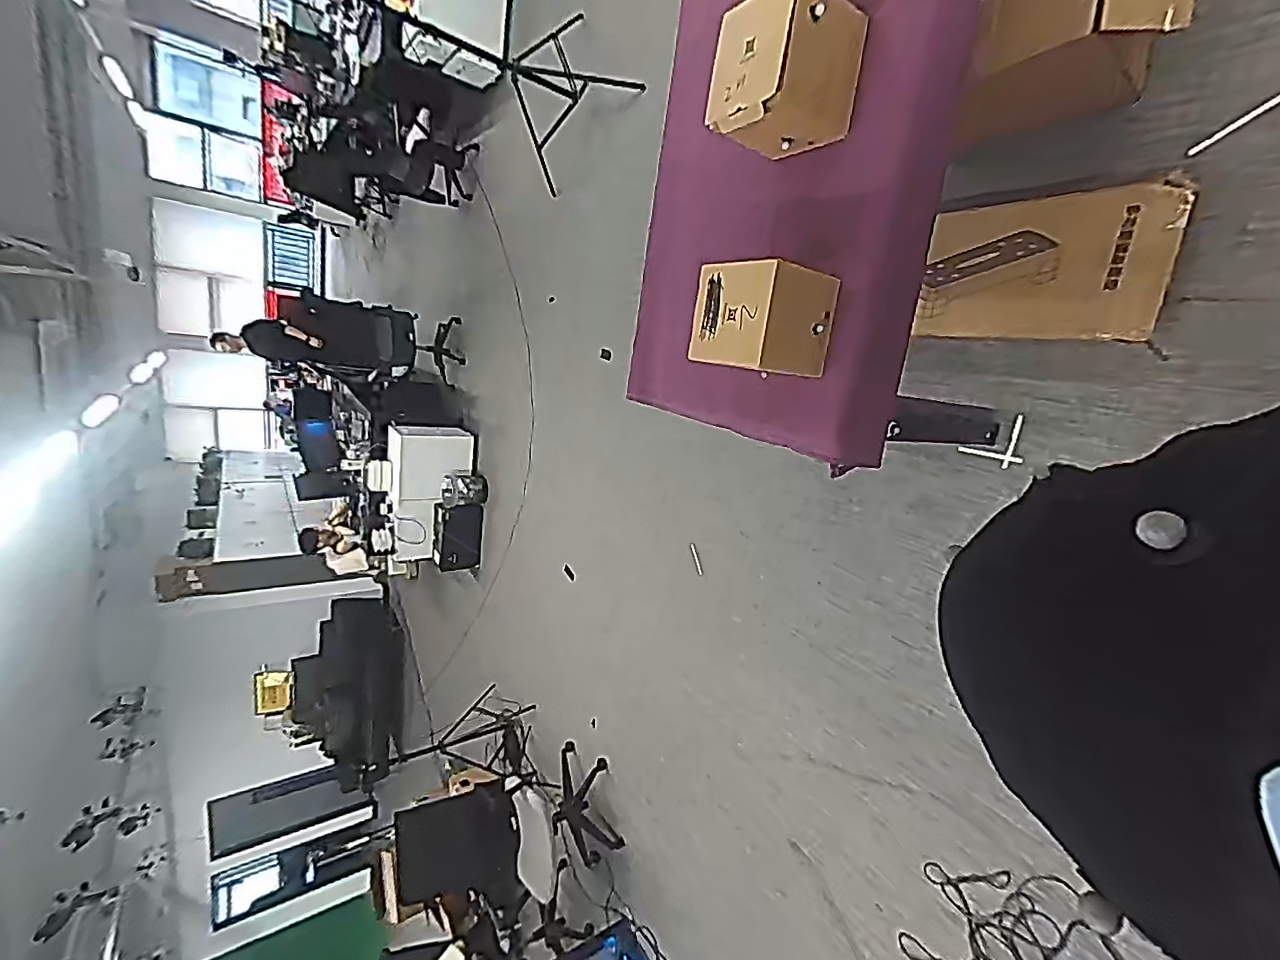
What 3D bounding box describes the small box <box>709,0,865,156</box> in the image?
[{"bbox_3d":[0.240,-0.666,0.886,0.168,0.176,0.179,24,111,54],"label":"small box"}]
